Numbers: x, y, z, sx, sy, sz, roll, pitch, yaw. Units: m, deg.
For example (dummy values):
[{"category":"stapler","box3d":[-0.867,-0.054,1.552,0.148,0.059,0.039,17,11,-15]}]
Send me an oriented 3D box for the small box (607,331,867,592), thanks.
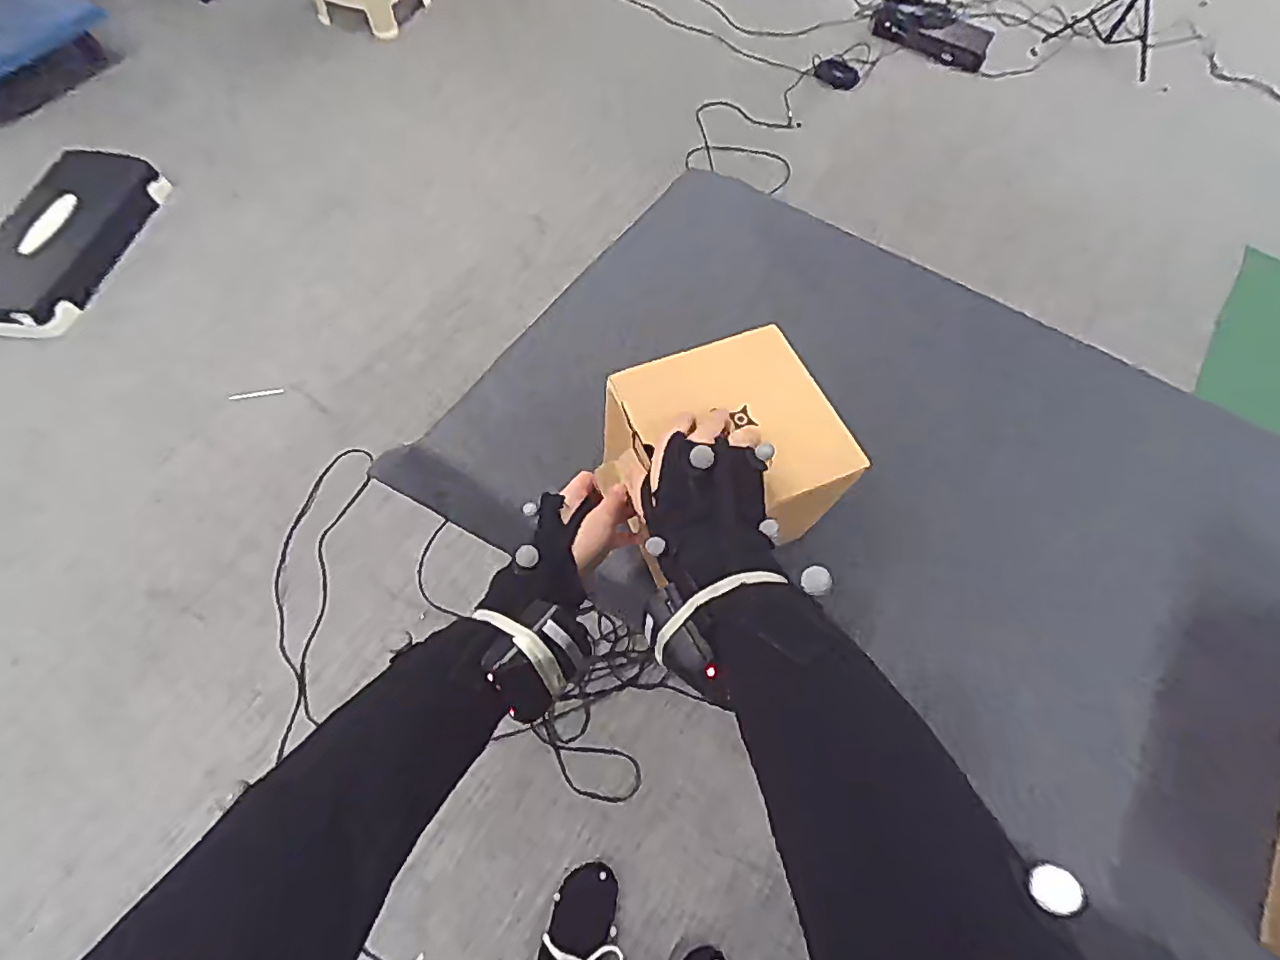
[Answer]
[{"category":"small box","box3d":[0.075,-0.010,0.532,0.179,0.176,0.168,-20,67,-13]}]
